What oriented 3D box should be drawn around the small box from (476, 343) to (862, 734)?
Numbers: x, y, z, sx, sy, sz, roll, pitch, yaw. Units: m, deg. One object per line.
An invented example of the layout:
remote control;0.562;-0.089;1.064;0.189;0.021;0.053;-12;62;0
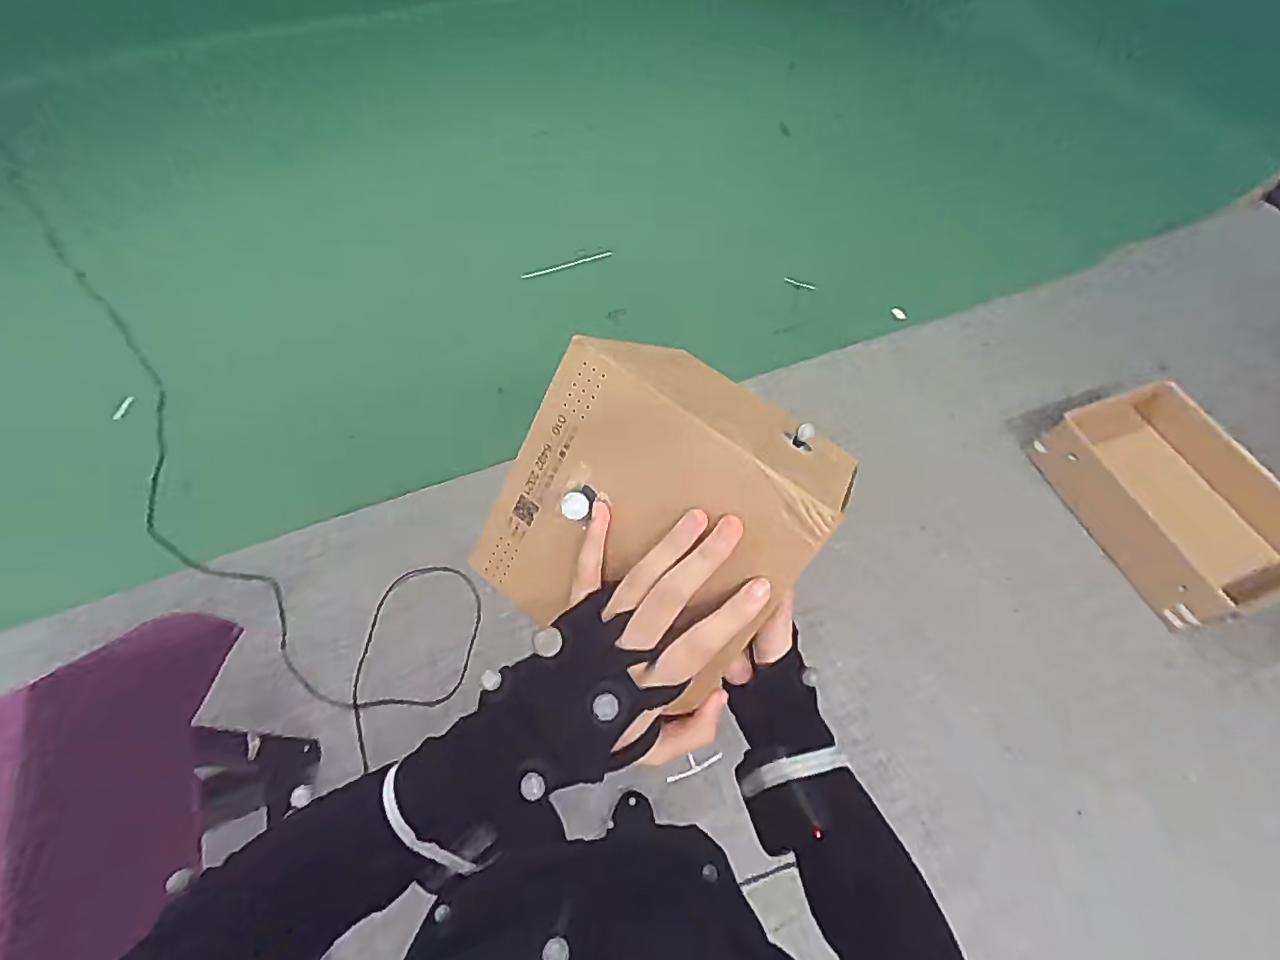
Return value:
small box;0.026;0.021;0.374;0.176;0.168;0.179;38;23;16
